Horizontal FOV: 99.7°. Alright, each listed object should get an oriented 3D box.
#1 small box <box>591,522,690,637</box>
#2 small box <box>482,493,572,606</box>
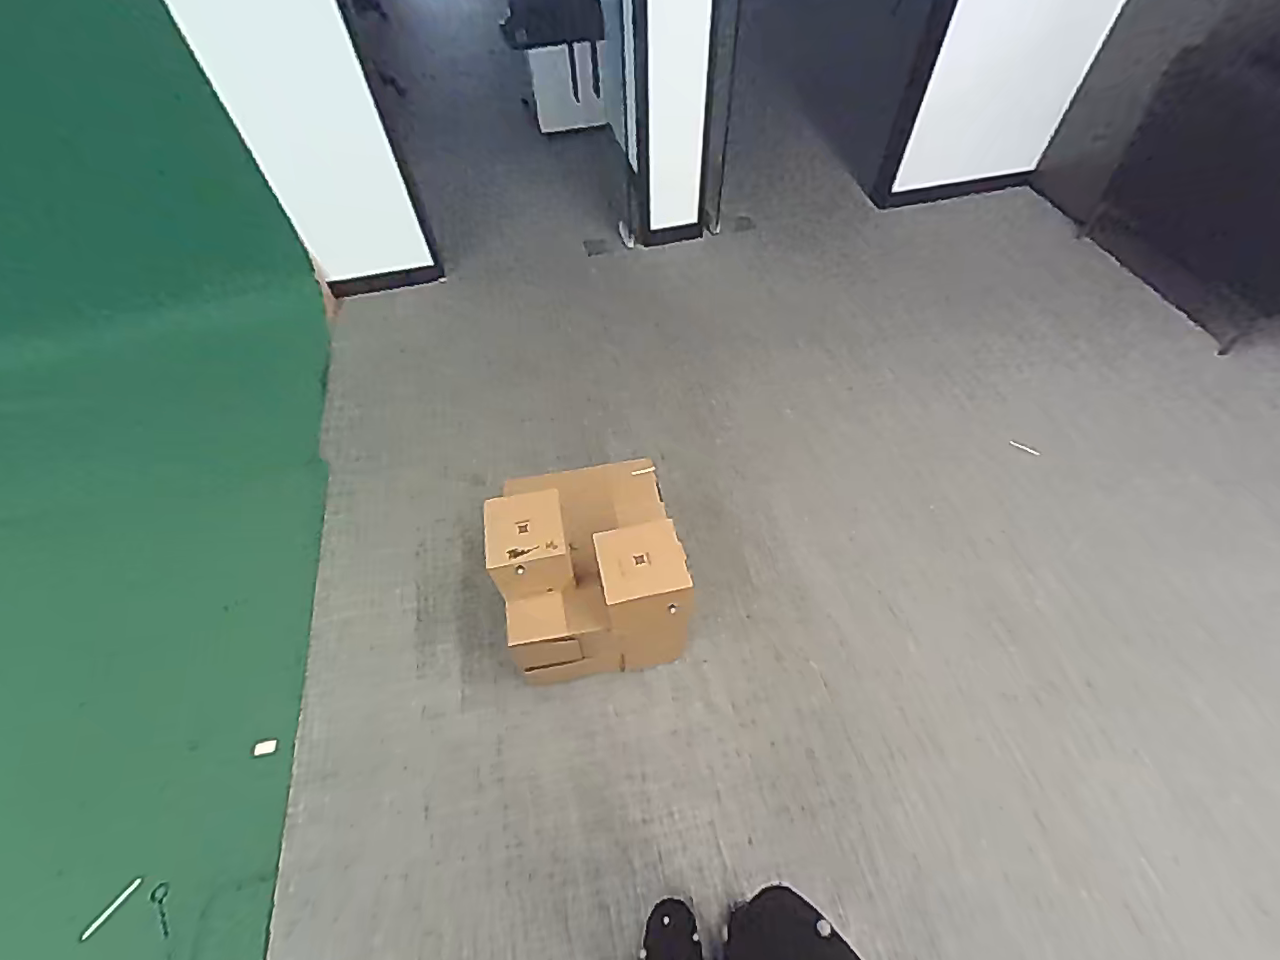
[{"bbox_3d":[-0.002,0.216,1.153,0.179,0.176,0.168,-12,54,-7],"label":"small box"},{"bbox_3d":[-0.250,0.157,1.204,0.168,0.176,0.179,-10,53,-5],"label":"small box"}]
